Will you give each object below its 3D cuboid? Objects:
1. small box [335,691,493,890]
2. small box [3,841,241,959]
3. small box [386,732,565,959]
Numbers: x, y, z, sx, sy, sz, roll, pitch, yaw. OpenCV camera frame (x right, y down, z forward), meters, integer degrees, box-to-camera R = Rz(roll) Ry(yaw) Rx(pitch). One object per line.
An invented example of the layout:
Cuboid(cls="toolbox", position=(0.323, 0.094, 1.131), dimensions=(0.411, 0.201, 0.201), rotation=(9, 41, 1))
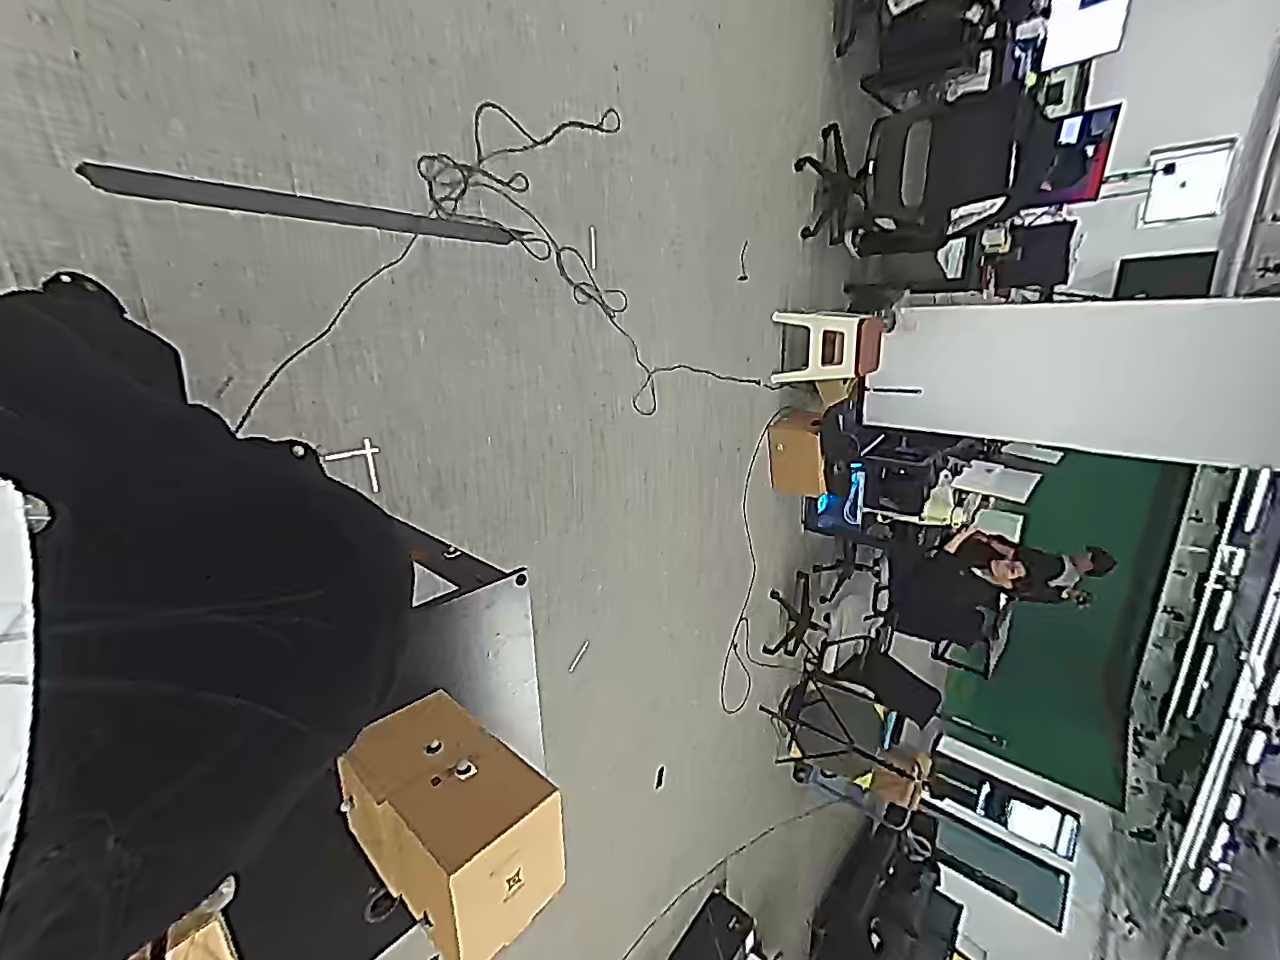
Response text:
Cuboid(cls="small box", position=(-0.345, 0.464, 0.844), dimensions=(0.179, 0.176, 0.168), rotation=(-16, 112, -45))
Cuboid(cls="small box", position=(-0.571, 0.556, 0.610), dimensions=(0.168, 0.176, 0.179), rotation=(-21, 115, -45))
Cuboid(cls="small box", position=(-0.222, 0.490, 0.740), dimensions=(0.168, 0.176, 0.179), rotation=(-19, 113, -47))
